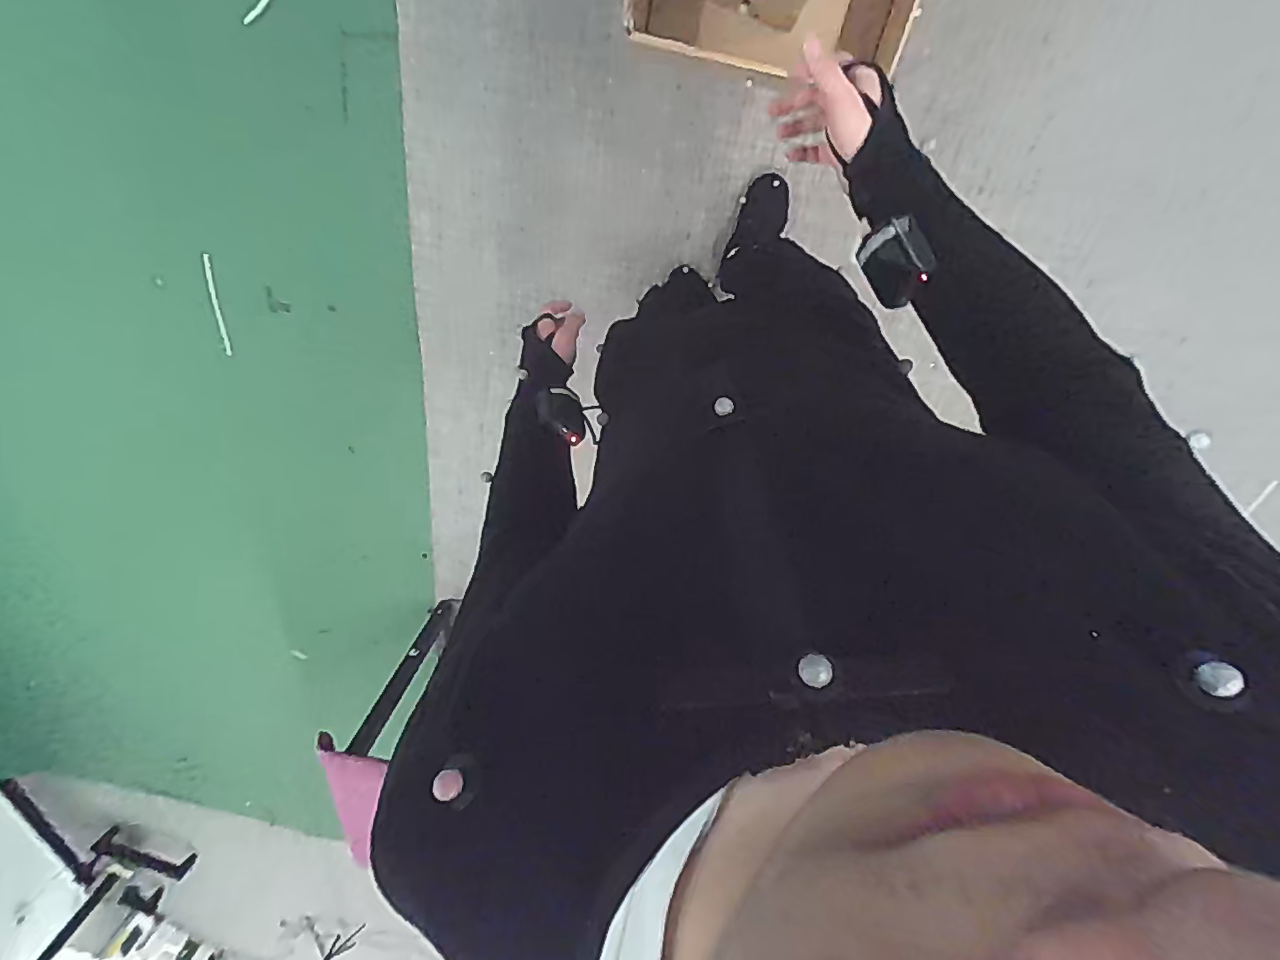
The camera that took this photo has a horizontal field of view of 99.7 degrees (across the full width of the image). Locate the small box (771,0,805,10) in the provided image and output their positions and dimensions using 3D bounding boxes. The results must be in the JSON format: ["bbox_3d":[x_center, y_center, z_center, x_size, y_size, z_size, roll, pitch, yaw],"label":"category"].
[{"bbox_3d":[0.158,-0.679,0.604,0.168,0.176,0.179,22,119,-5],"label":"small box"}]
